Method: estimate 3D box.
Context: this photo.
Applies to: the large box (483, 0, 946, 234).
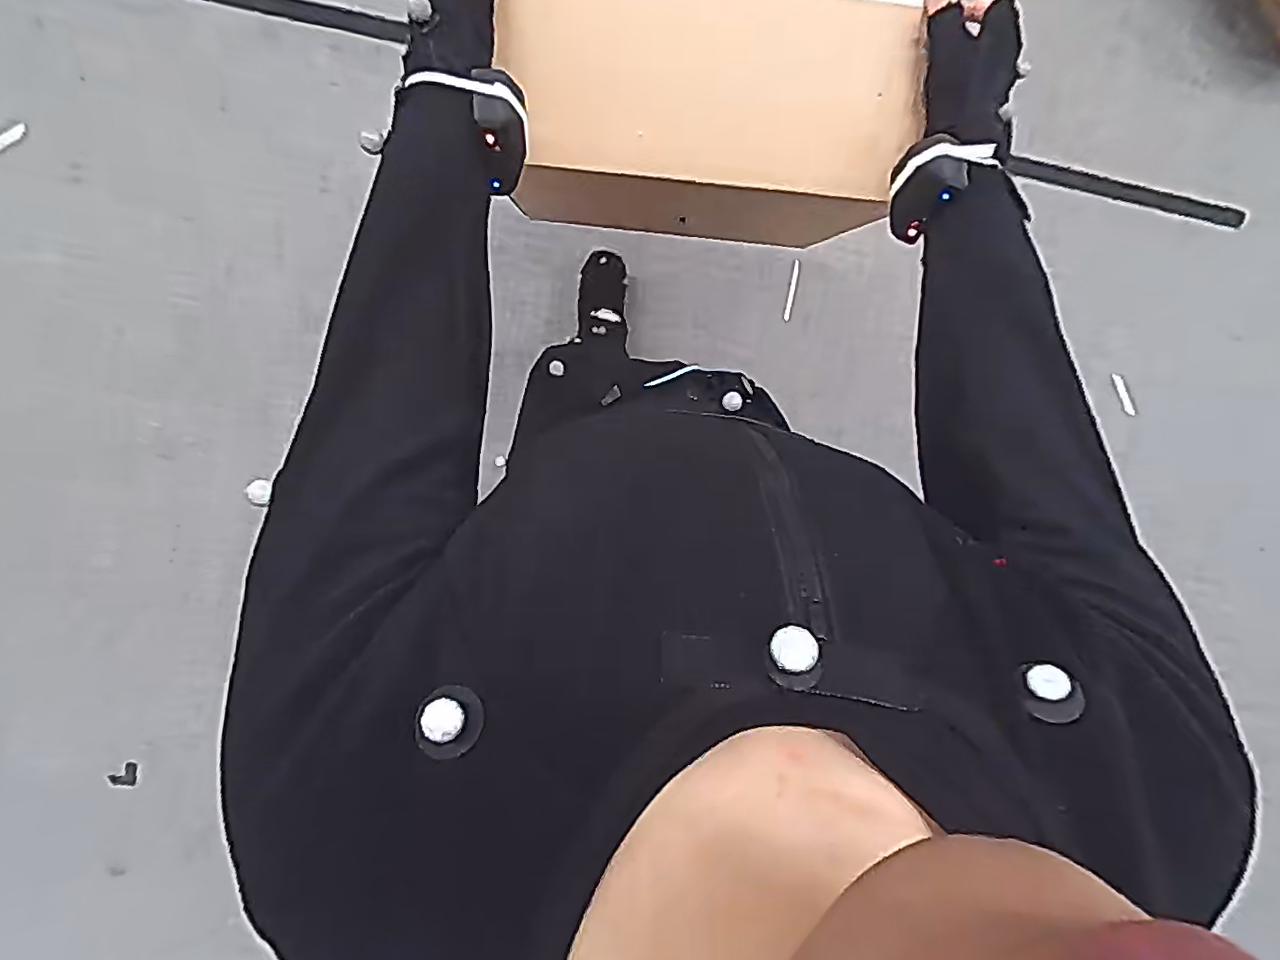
[{"bbox_3d":[0.064,-0.471,0.597,0.408,0.320,0.320,4,105,-4],"label":"large box"}]
